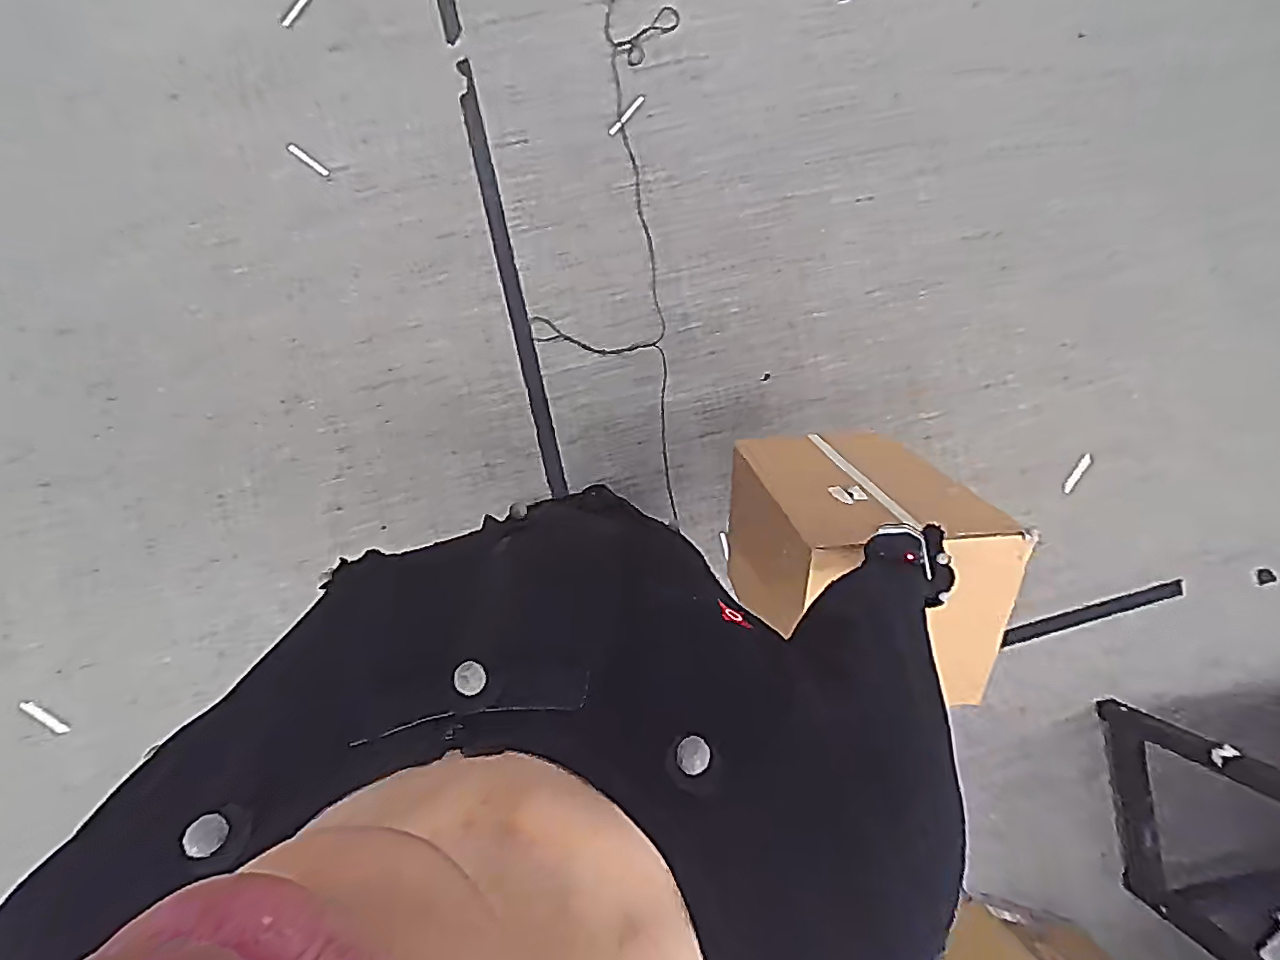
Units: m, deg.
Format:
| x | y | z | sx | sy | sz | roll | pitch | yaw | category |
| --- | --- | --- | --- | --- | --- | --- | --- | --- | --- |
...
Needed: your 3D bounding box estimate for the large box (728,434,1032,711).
| x | y | z | sx | sy | sz | roll | pitch | yaw | category |
| --- | --- | --- | --- | --- | --- | --- | --- | --- | --- |
| 0.366 | 0.135 | 0.968 | 0.320 | 0.408 | 0.320 | -4 | 117 | -5 | large box |
